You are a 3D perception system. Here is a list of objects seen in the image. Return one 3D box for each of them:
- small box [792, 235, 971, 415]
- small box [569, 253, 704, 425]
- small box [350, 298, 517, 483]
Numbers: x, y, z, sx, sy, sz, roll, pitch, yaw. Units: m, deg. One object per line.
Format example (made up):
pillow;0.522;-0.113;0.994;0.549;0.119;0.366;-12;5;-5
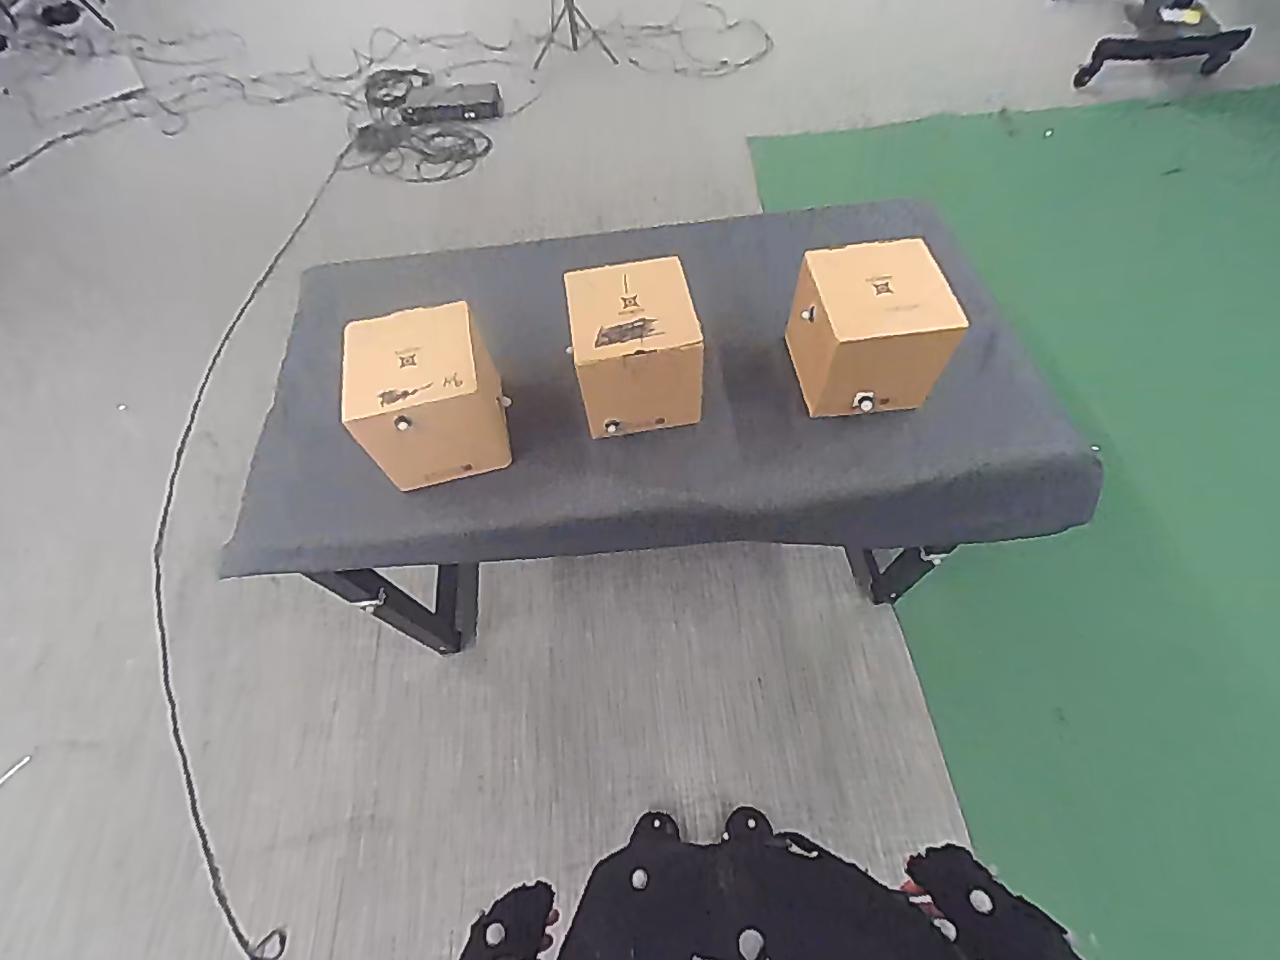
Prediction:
small box;0.328;-0.219;0.781;0.168;0.176;0.179;-8;61;2
small box;-0.003;-0.195;0.790;0.168;0.176;0.179;-9;59;-1
small box;-0.283;-0.122;0.768;0.168;0.176;0.179;-14;58;-3
